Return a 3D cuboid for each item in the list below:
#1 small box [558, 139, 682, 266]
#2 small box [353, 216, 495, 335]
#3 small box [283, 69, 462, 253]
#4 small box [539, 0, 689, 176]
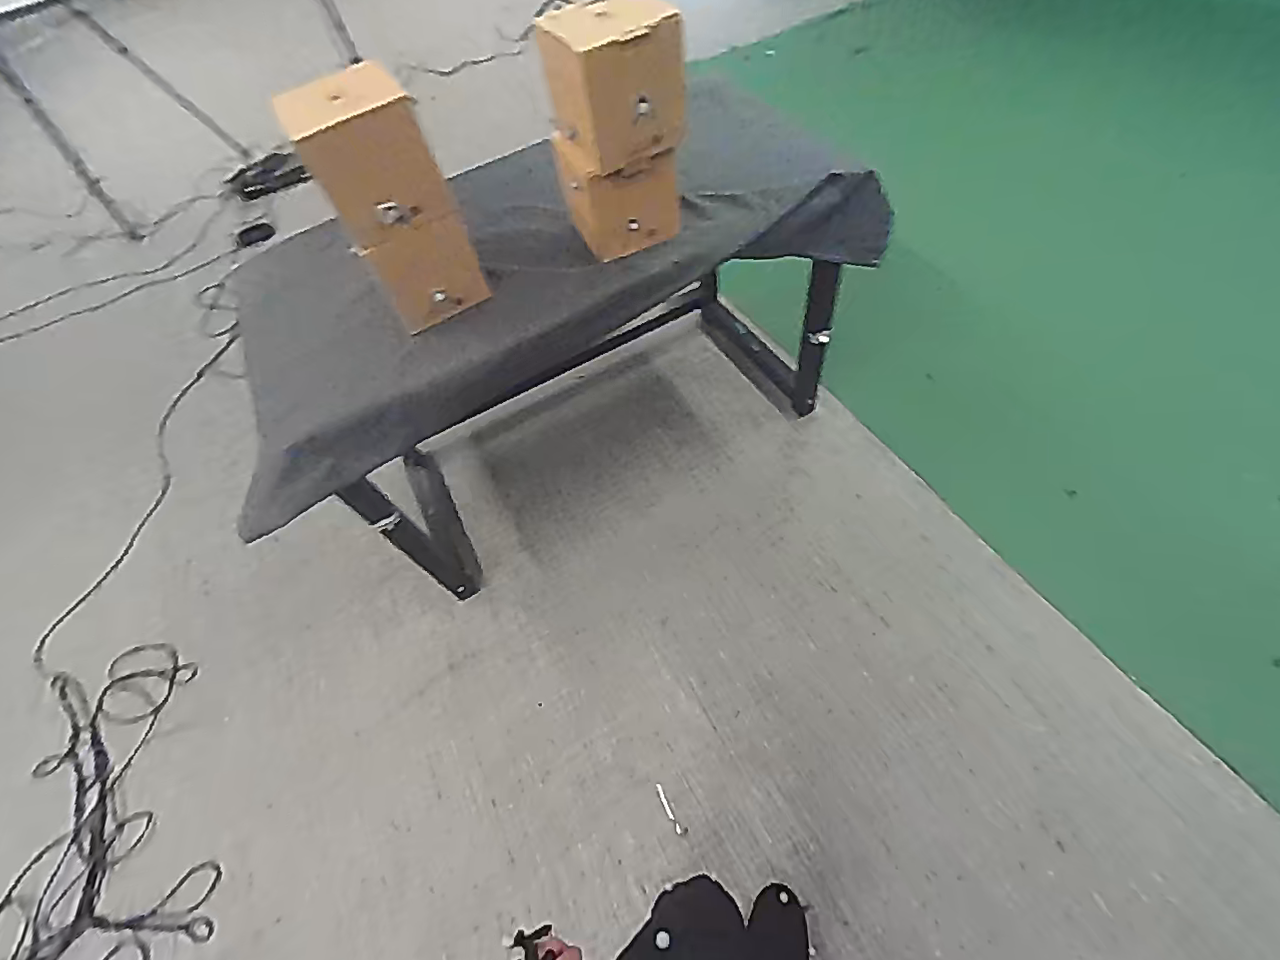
[{"bbox_3d":[-0.033,-0.531,1.001,0.168,0.176,0.179,-24,56,-8],"label":"small box"},{"bbox_3d":[-0.385,-0.393,0.963,0.168,0.176,0.179,-31,58,-11],"label":"small box"},{"bbox_3d":[-0.402,-0.485,0.830,0.168,0.176,0.179,-31,58,-10],"label":"small box"},{"bbox_3d":[-0.034,-0.614,0.857,0.168,0.176,0.179,-28,58,-10],"label":"small box"}]
